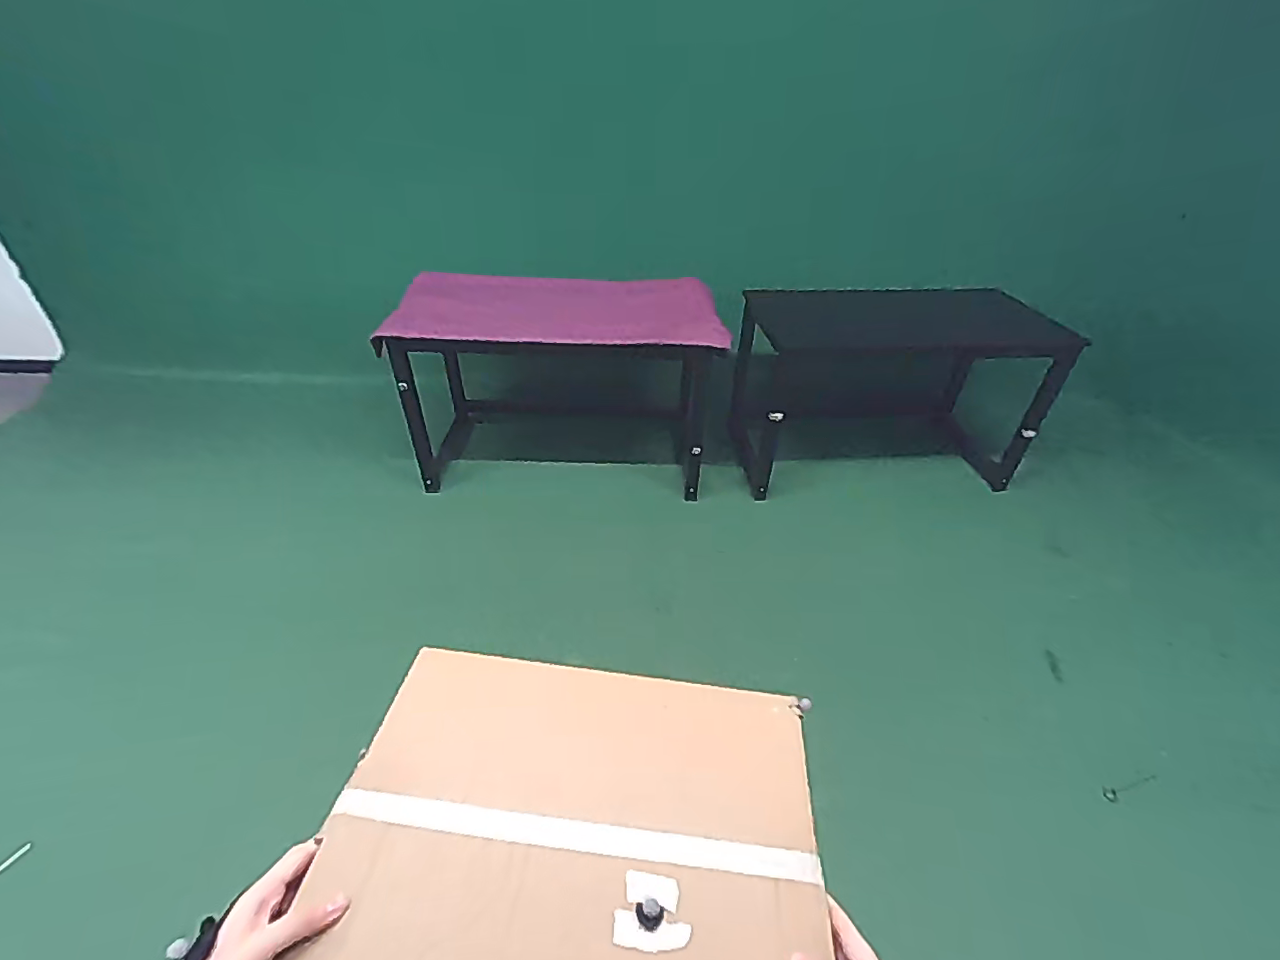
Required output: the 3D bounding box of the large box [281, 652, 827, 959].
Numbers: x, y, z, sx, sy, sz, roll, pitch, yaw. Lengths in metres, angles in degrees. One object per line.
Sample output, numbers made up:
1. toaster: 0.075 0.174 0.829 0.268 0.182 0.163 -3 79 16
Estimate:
1. large box: -0.062 0.419 0.553 0.408 0.320 0.320 8 38 2
